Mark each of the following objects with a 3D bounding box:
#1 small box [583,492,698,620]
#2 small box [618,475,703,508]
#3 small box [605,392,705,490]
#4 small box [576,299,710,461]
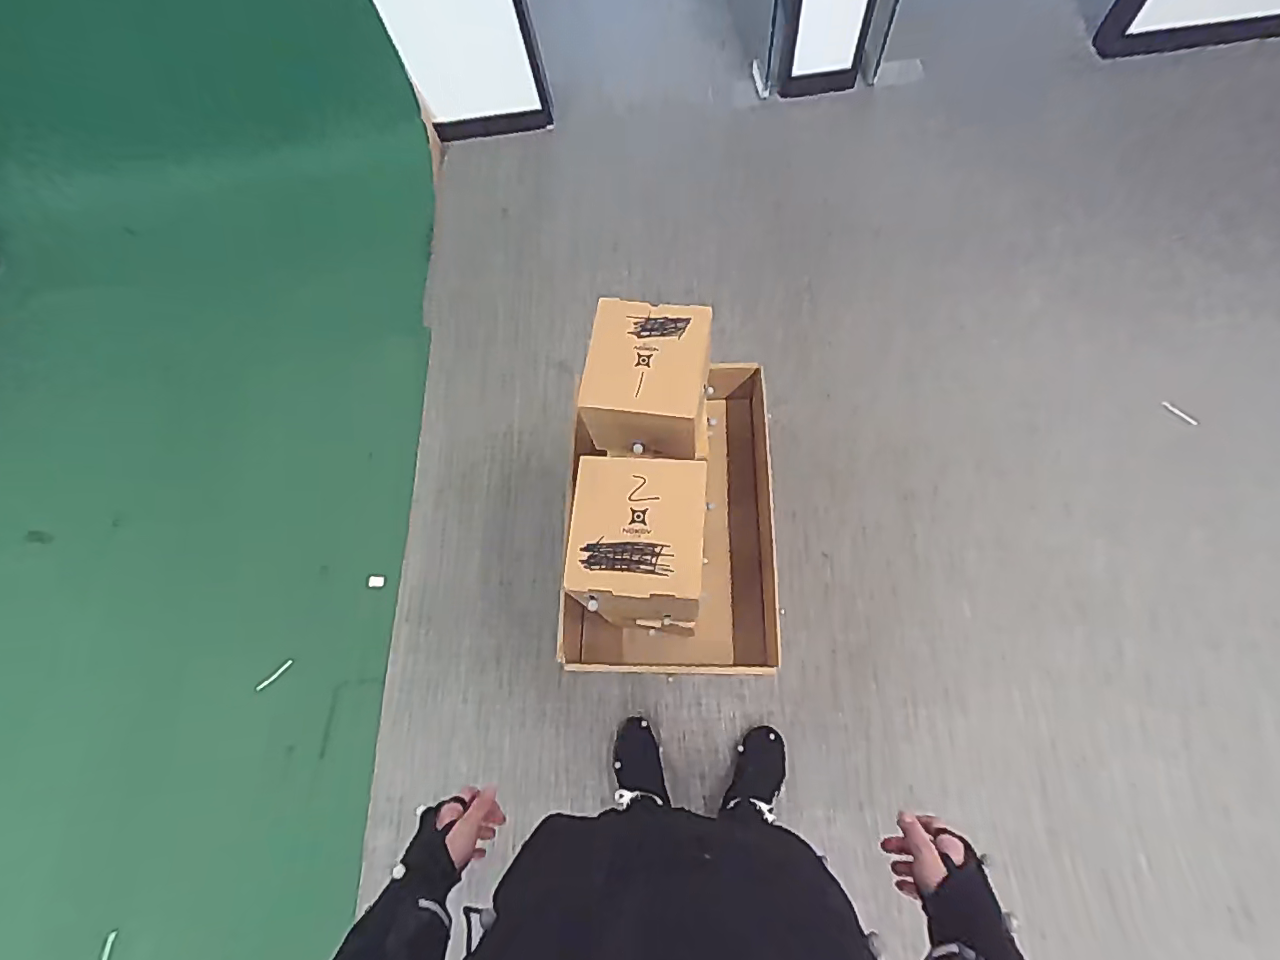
[{"bbox_3d":[0.010,0.132,0.897,0.168,0.176,0.179,3,69,6],"label":"small box"},{"bbox_3d":[0.046,-0.040,1.133,0.168,0.176,0.179,-2,72,6],"label":"small box"},{"bbox_3d":[0.030,-0.090,0.979,0.168,0.176,0.179,-1,72,4],"label":"small box"},{"bbox_3d":[0.011,-0.146,0.826,0.168,0.176,0.179,8,74,8],"label":"small box"}]
